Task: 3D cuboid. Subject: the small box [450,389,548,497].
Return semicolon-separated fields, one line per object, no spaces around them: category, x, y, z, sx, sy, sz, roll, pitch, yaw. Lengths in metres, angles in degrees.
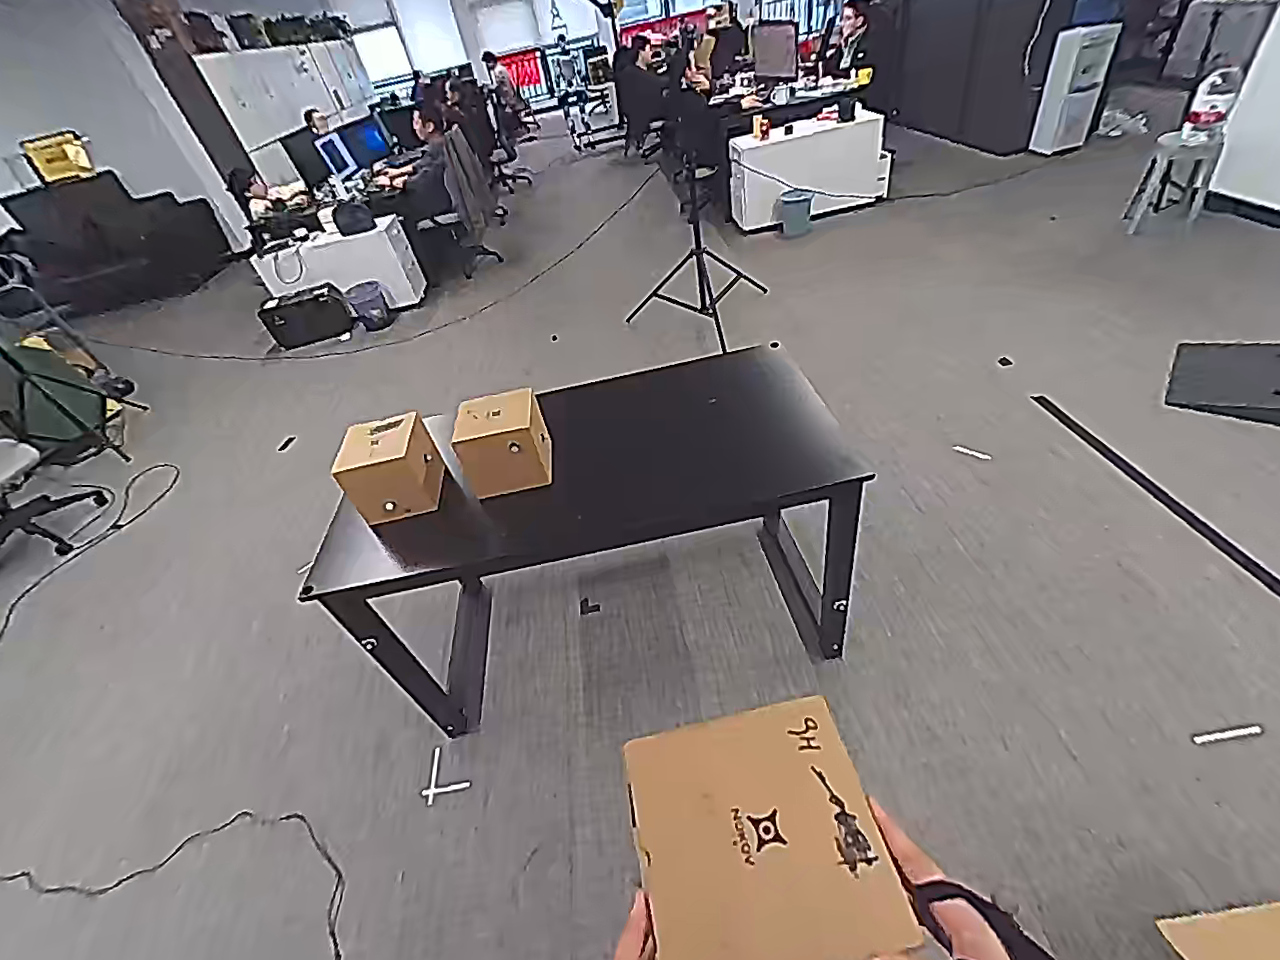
small box;-0.316;-0.084;1.257;0.179;0.176;0.168;-12;40;1

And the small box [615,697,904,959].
small box;0.087;0.314;0.463;0.179;0.176;0.168;-13;49;-2

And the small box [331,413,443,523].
small box;-0.577;-0.027;1.261;0.168;0.176;0.179;-13;42;0
